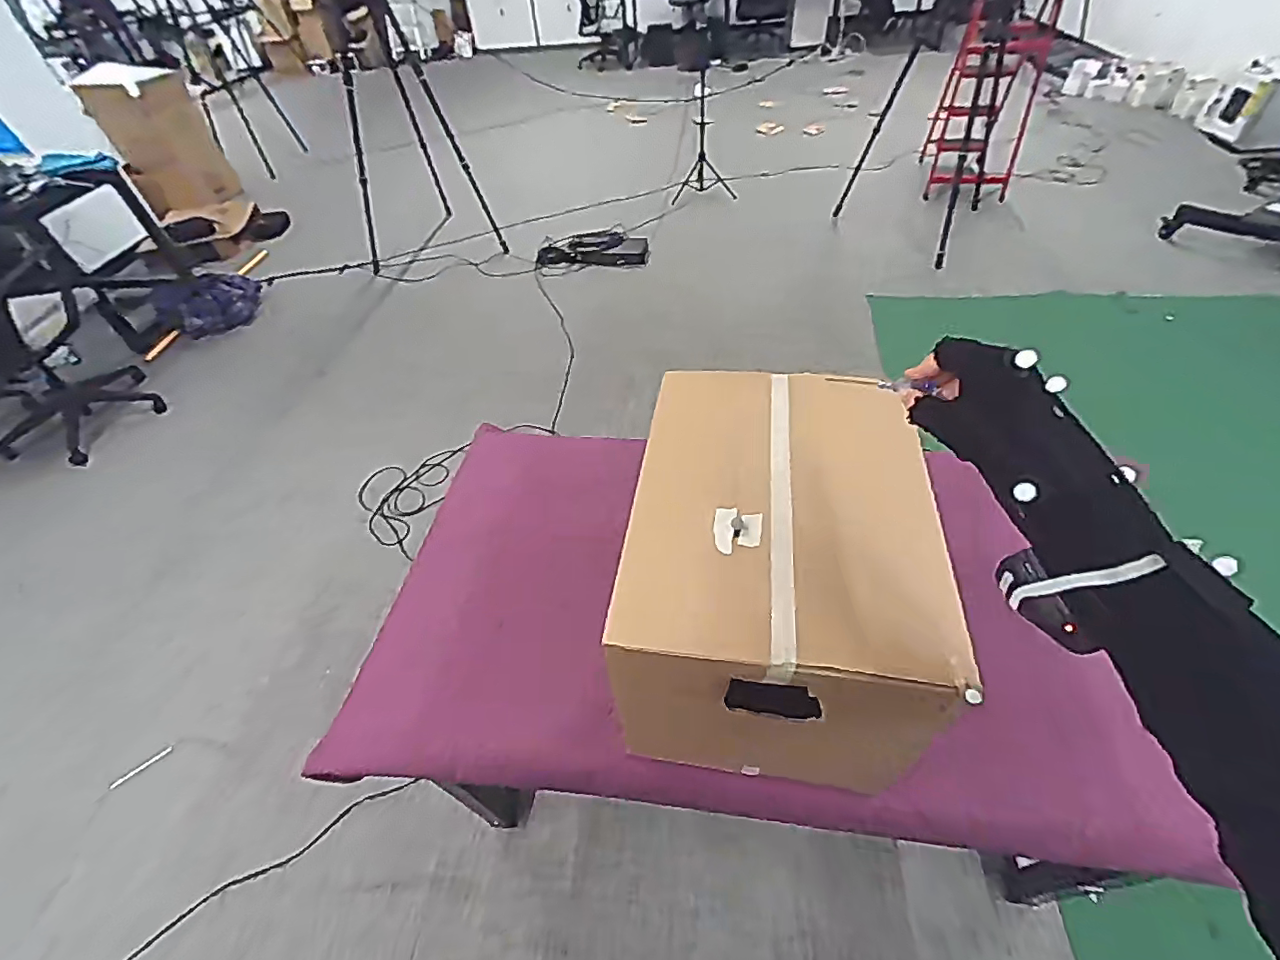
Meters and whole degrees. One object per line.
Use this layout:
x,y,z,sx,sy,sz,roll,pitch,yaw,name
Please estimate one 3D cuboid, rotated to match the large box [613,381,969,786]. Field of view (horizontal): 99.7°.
0.162,0.122,0.709,0.320,0.320,0.408,5,48,9,large box
